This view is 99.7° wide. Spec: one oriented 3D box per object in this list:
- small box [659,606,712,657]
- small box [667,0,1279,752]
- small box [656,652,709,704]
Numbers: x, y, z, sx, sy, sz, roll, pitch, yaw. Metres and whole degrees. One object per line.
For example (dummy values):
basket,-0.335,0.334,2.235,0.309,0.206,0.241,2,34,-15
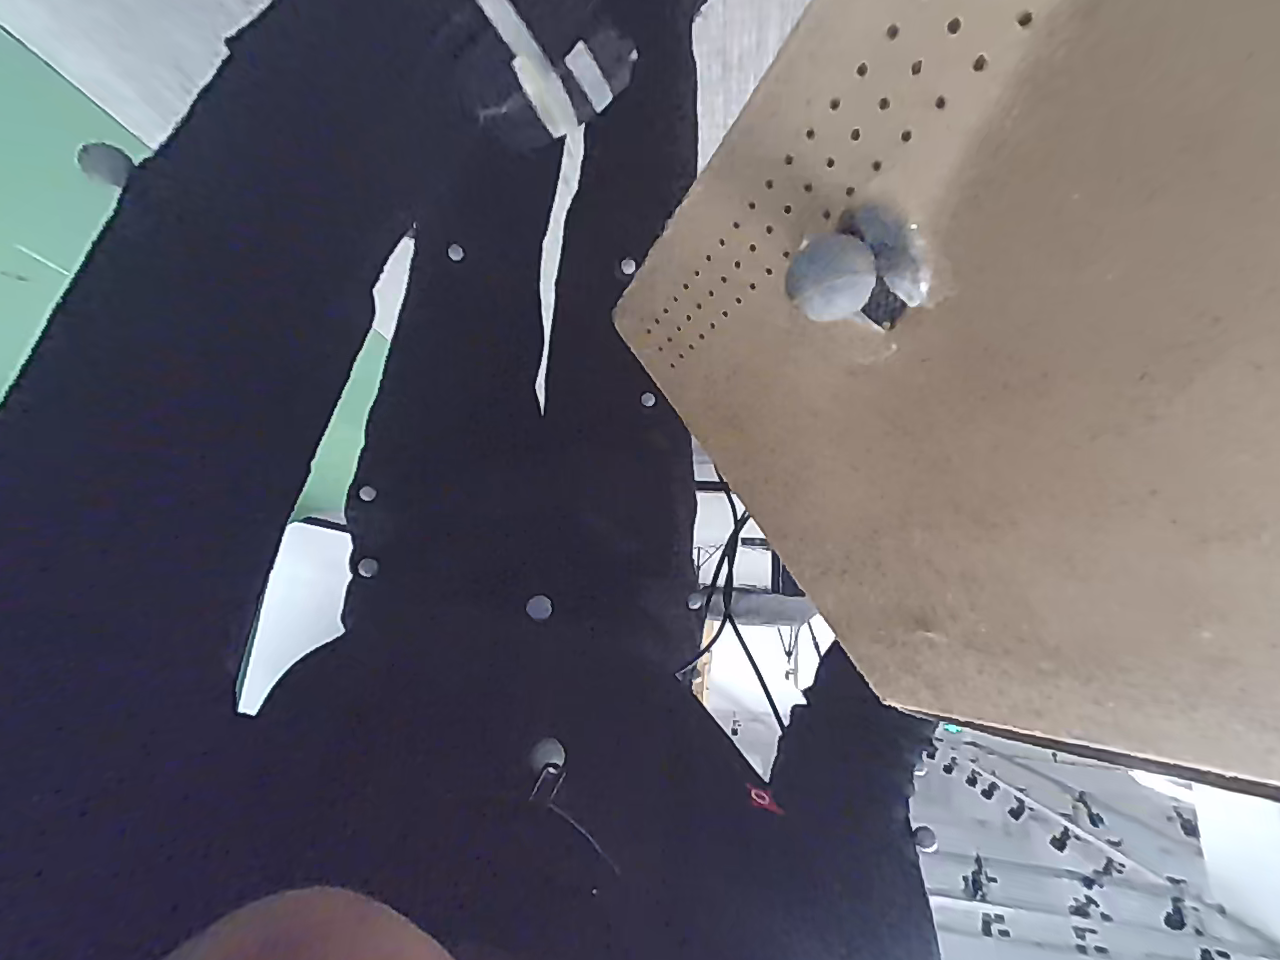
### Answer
small box,0.177,0.574,2.060,0.168,0.176,0.179,-1,165,19
small box,0.132,-0.058,0.140,0.168,0.176,0.179,-37,-176,-25
small box,0.165,0.735,2.037,0.179,0.176,0.168,1,165,16
